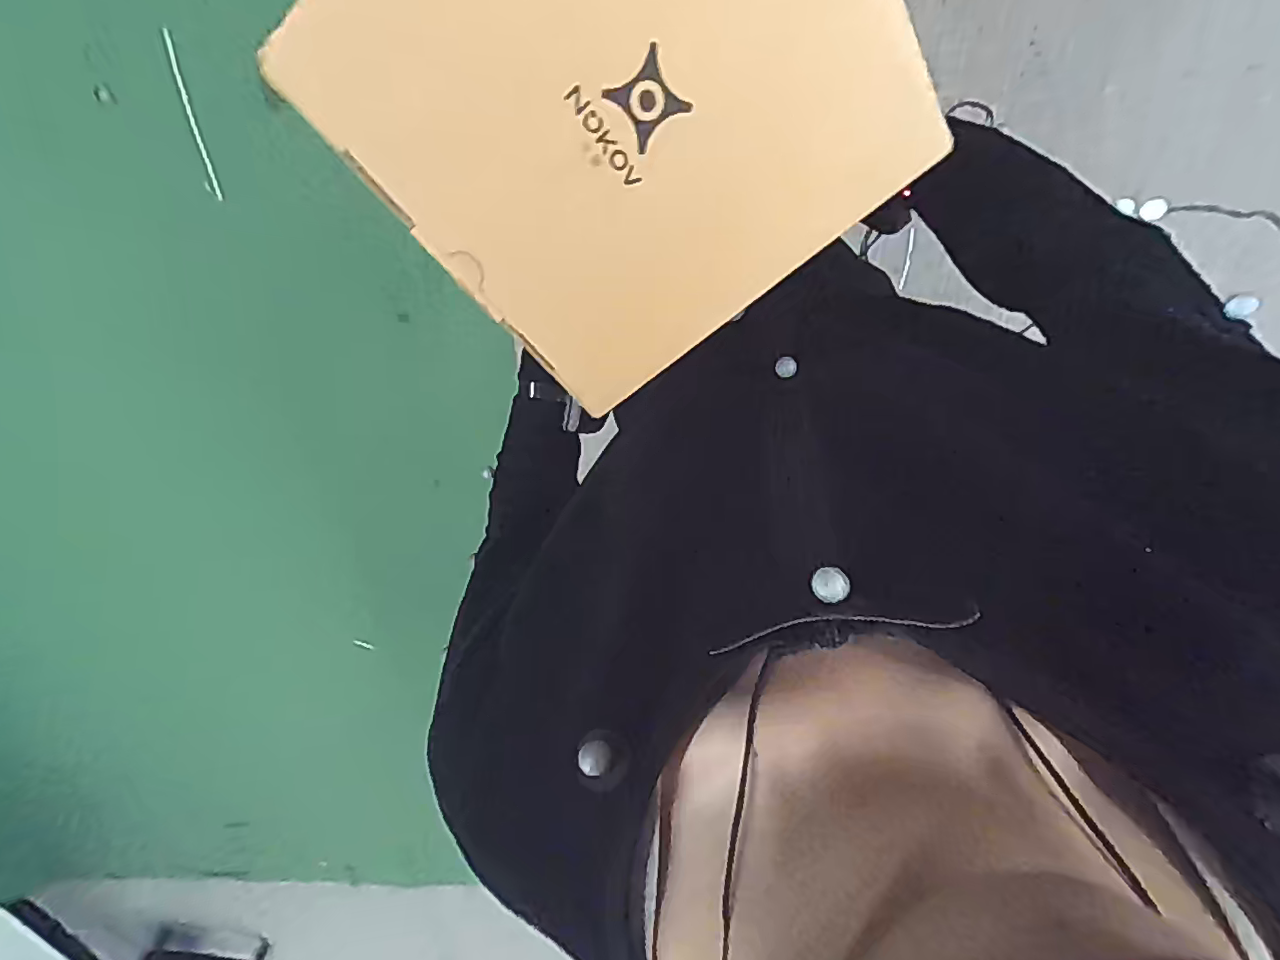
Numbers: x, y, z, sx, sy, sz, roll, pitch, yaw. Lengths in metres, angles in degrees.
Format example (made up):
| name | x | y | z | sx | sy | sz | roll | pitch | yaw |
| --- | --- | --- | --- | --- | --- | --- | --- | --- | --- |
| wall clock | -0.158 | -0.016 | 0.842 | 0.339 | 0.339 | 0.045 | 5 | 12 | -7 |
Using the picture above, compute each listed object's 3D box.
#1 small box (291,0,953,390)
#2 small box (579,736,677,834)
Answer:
| name | x | y | z | sx | sy | sz | roll | pitch | yaw |
| --- | --- | --- | --- | --- | --- | --- | --- | --- | --- |
| small box | -0.004 | -0.182 | 0.252 | 0.179 | 0.176 | 0.168 | -34 | 121 | 16 |
| small box | -0.021 | 0.624 | 1.057 | 0.179 | 0.176 | 0.168 | -1 | 119 | 1 |
